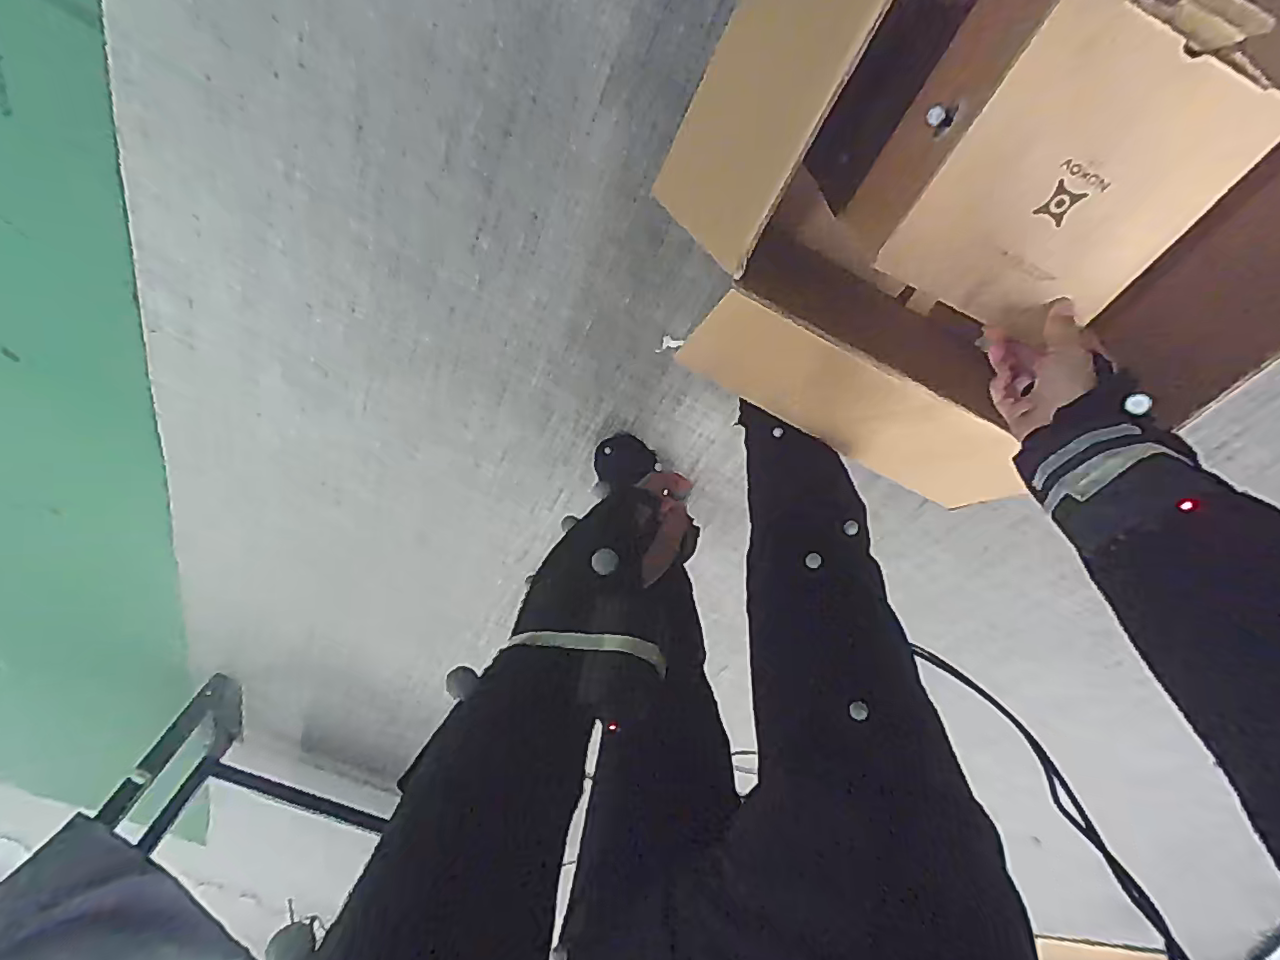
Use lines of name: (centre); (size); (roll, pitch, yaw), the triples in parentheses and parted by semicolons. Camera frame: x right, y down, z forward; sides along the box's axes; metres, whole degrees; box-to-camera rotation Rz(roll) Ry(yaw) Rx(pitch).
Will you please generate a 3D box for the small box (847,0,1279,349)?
small box: (0.282, -0.240, 0.413); (0.168, 0.176, 0.179); (23, 130, -9)
